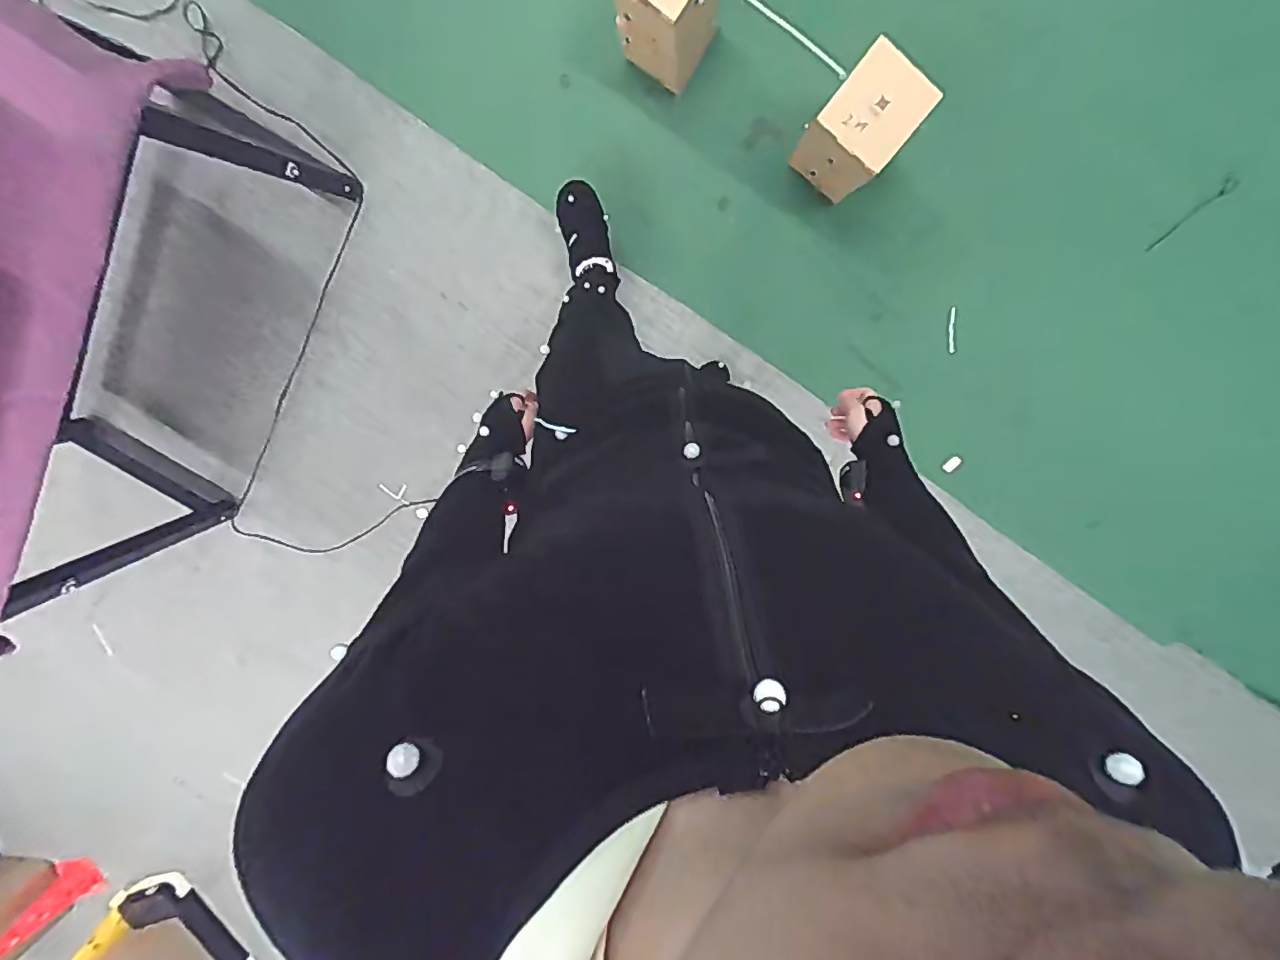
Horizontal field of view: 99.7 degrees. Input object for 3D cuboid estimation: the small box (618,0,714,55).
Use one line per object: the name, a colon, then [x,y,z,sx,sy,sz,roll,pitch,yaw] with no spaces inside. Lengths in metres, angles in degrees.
small box: [0.058,-1.002,1.068,0.168,0.176,0.179,37,106,-6]

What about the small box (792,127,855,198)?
small box: [0.480,-0.797,1.265,0.168,0.176,0.179,37,108,-7]

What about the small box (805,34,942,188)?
small box: [0.465,-0.741,1.111,0.168,0.176,0.179,39,108,-7]
